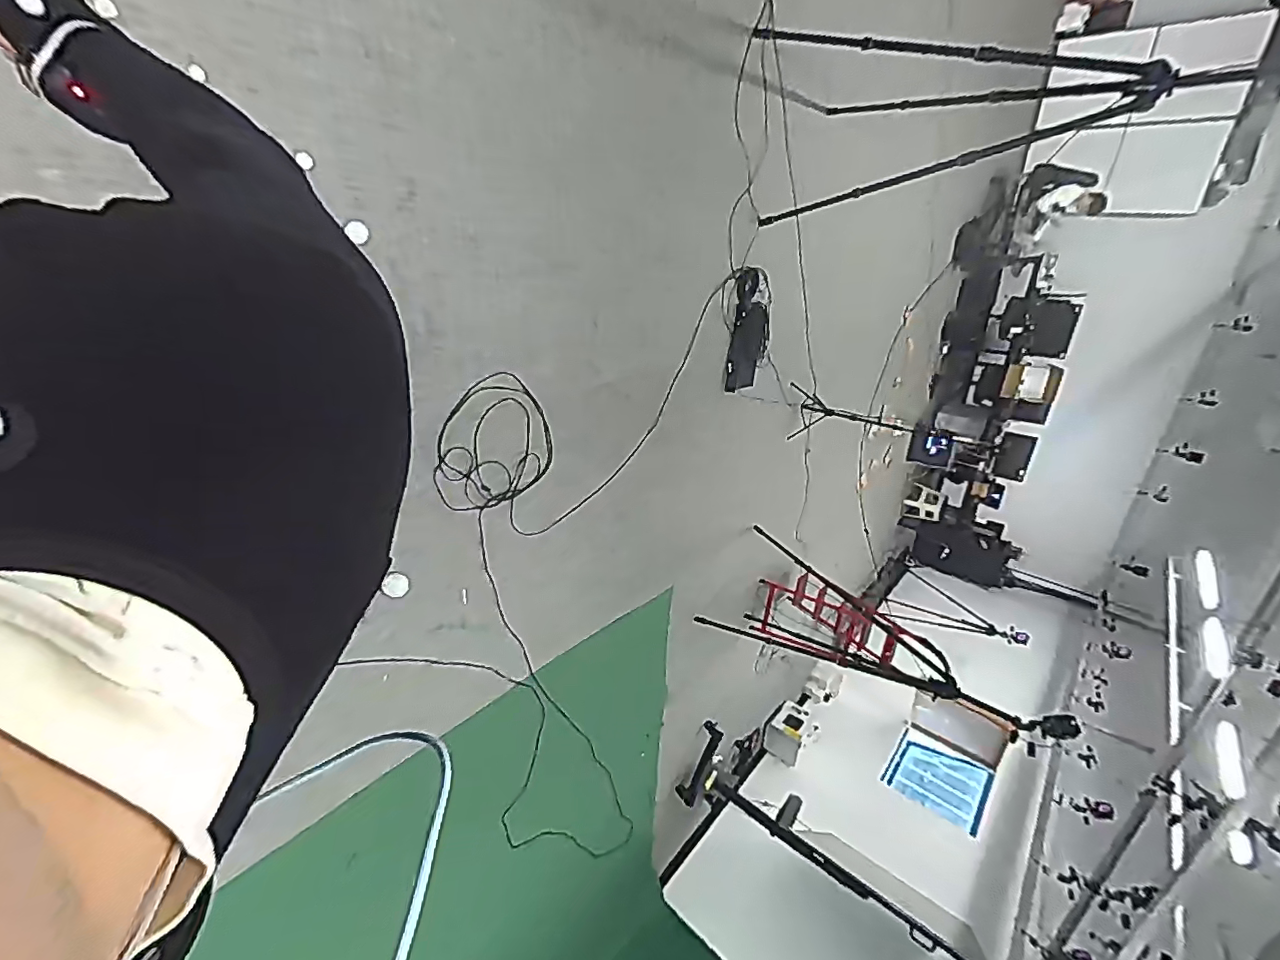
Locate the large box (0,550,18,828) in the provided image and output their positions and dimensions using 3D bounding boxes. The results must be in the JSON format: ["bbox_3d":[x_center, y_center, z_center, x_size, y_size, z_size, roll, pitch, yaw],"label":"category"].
[{"bbox_3d":[-1.214,0.344,0.835,0.320,0.320,0.408,1,106,-51],"label":"large box"}]
